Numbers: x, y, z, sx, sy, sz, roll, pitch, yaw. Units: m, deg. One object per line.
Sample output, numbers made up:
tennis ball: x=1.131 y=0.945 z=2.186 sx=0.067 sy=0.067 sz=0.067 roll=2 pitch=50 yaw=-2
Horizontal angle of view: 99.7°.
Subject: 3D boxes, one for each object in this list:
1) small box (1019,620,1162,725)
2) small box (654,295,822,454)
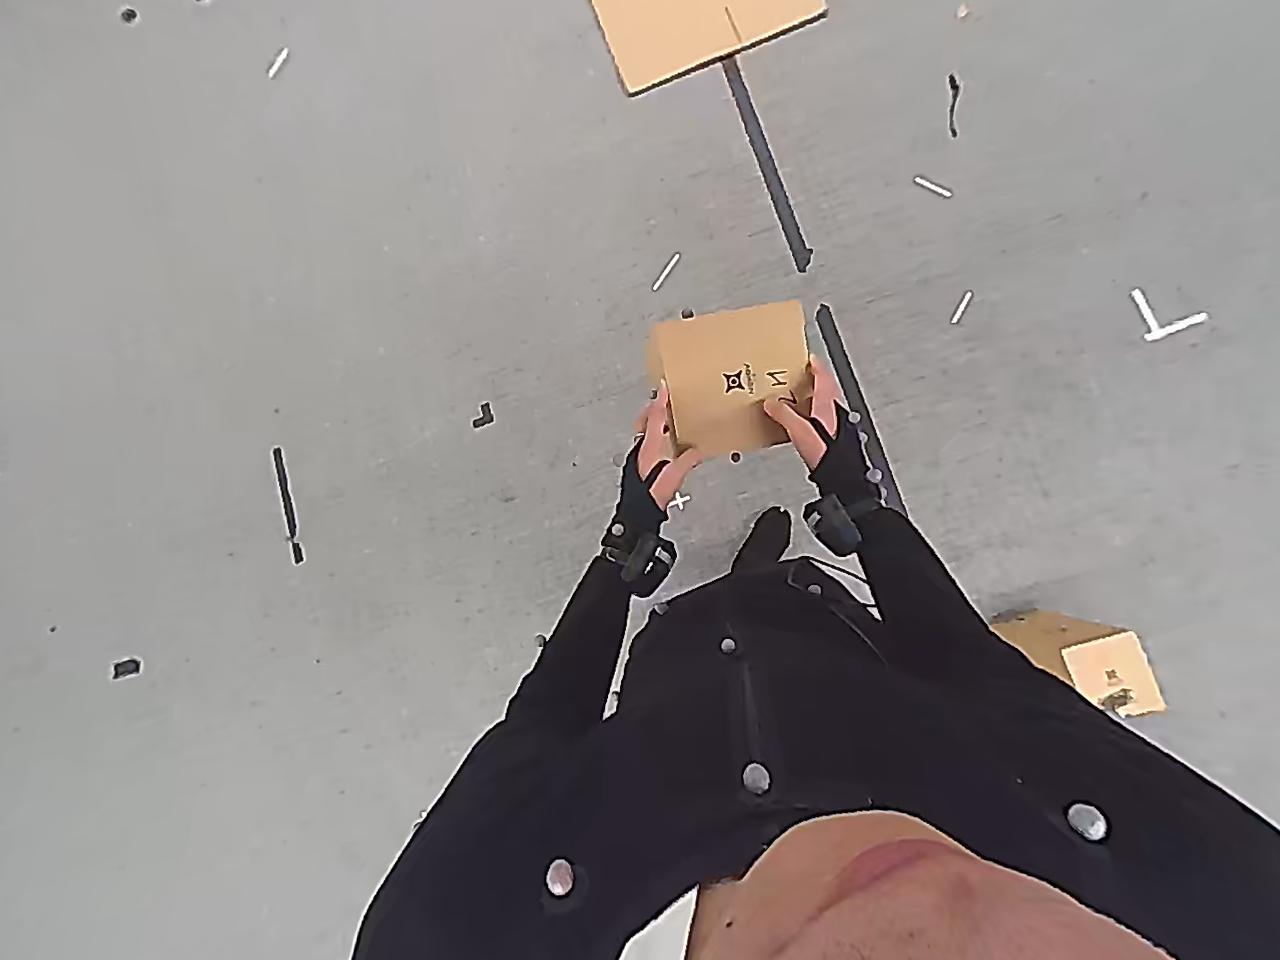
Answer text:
small box: x=1.044 y=0.444 z=1.271 sx=0.168 sy=0.176 sz=0.179 roll=-17 pitch=82 yaw=4
small box: x=0.116 y=-0.130 z=0.713 sx=0.179 sy=0.176 sz=0.168 roll=-10 pitch=97 yaw=-3
